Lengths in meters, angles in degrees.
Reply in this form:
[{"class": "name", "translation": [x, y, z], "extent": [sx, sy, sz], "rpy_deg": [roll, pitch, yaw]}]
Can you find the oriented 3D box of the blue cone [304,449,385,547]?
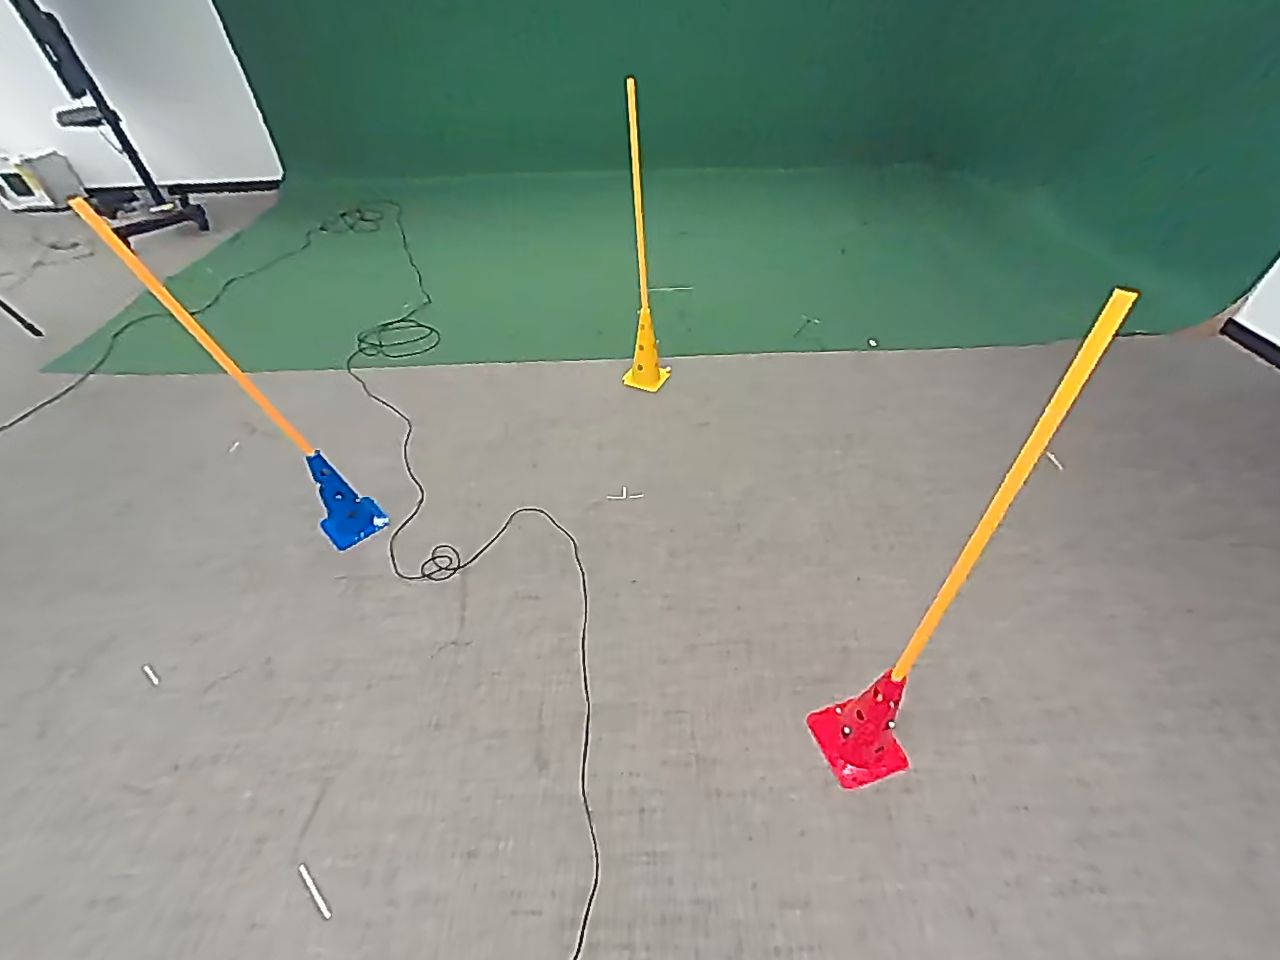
[{"class": "blue cone", "translation": [-1.069, 0.043, 1.893], "extent": [0.192, 0.380, 0.193], "rpy_deg": [33, 56, 29]}]
